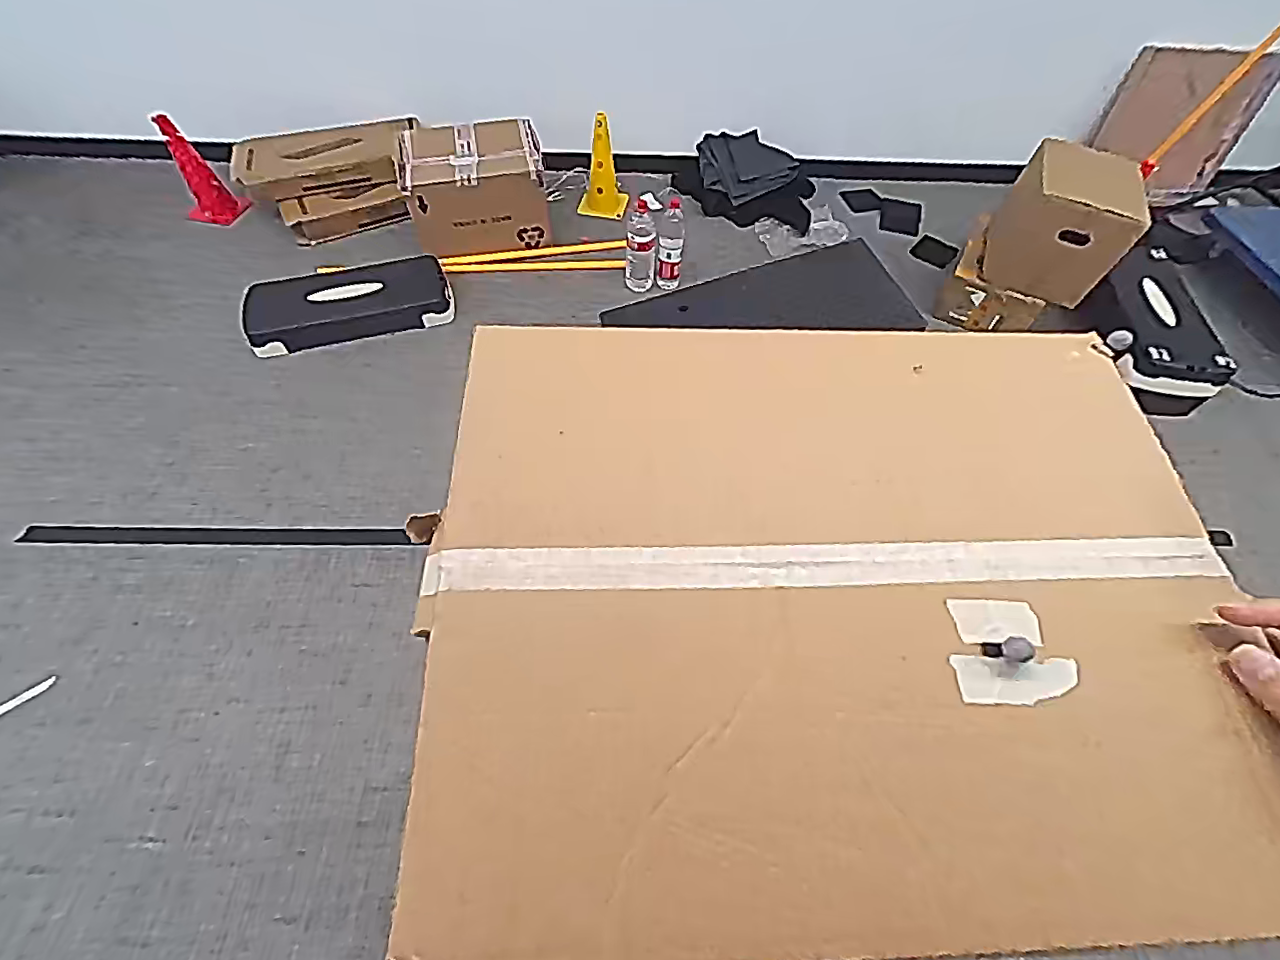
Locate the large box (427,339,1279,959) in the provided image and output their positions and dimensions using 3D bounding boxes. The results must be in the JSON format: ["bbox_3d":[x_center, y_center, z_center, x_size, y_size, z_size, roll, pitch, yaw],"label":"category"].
[{"bbox_3d":[0.095,0.113,0.422,0.408,0.320,0.320,0,64,-4],"label":"large box"}]
